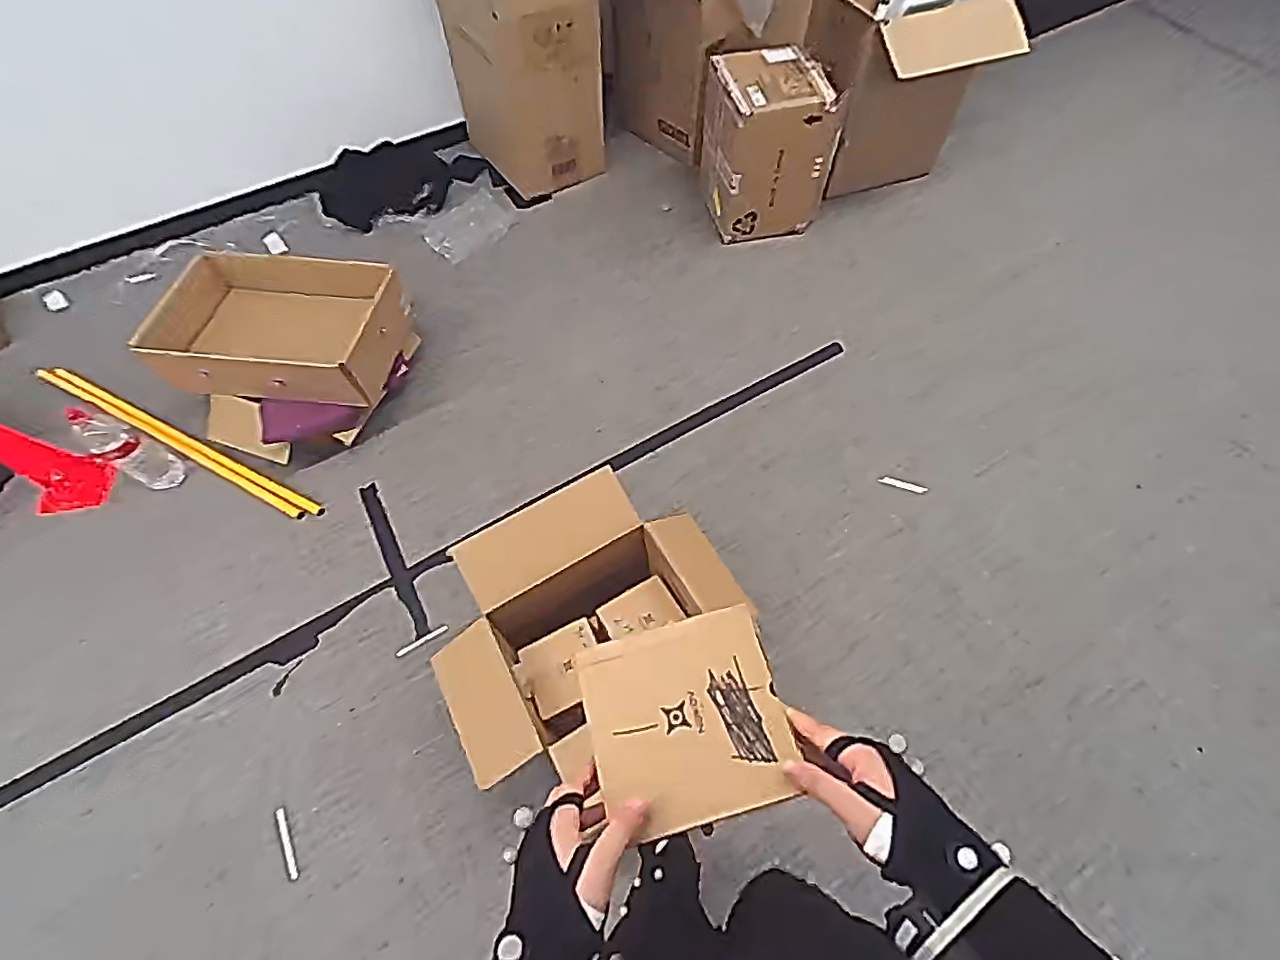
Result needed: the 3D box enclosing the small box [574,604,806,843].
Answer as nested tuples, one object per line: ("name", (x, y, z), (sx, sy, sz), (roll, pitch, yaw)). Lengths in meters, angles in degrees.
("small box", (0.045, 0.245, 0.556), (0.179, 0.176, 0.168), (-16, 62, -2))
